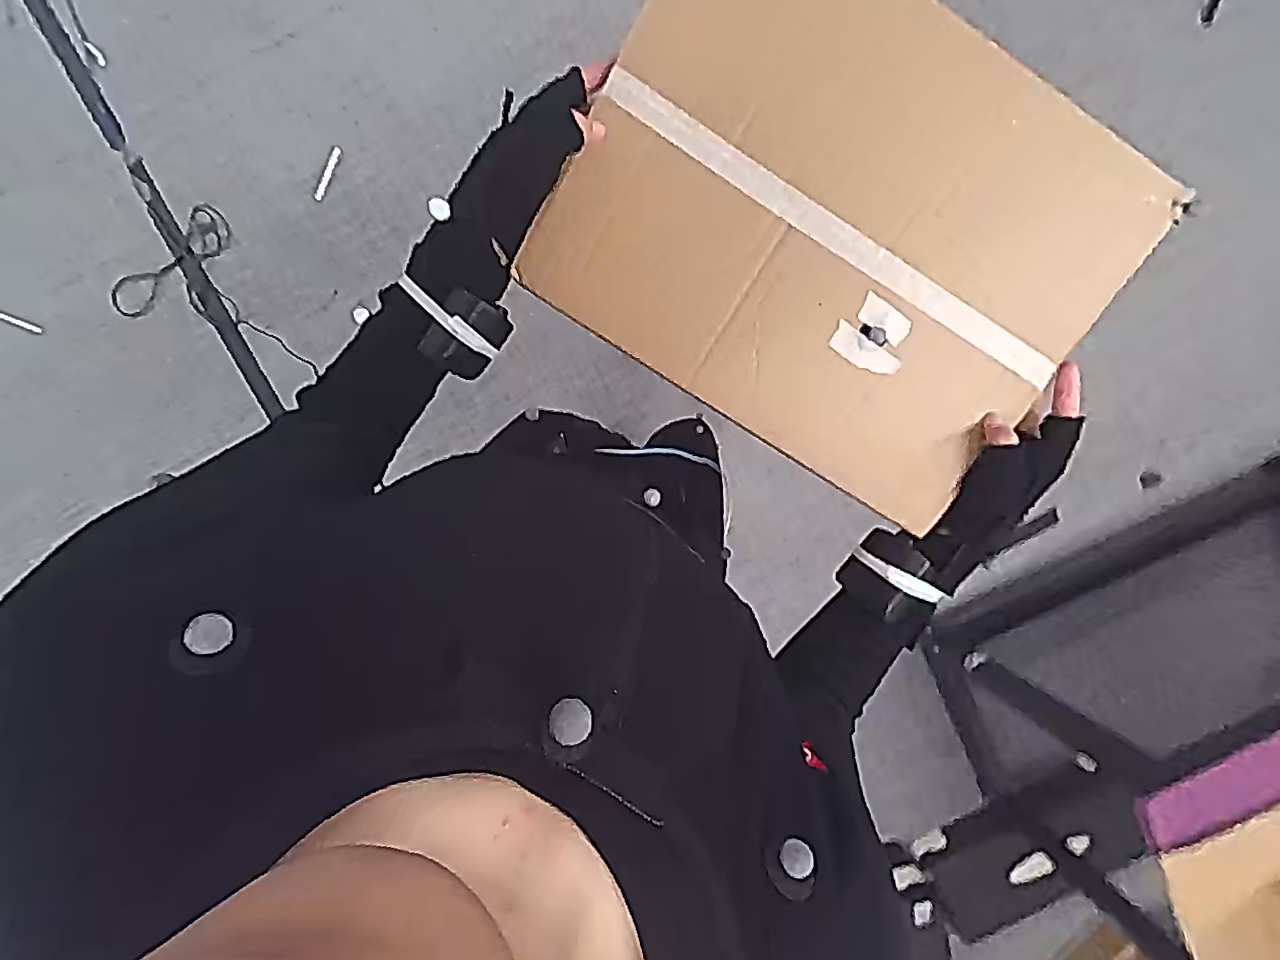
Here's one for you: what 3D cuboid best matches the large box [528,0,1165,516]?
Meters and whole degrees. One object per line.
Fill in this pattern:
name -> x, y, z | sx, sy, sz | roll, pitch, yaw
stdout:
large box -> 0.156, -0.226, 0.567 | 0.408, 0.320, 0.320 | 32, 103, -6
